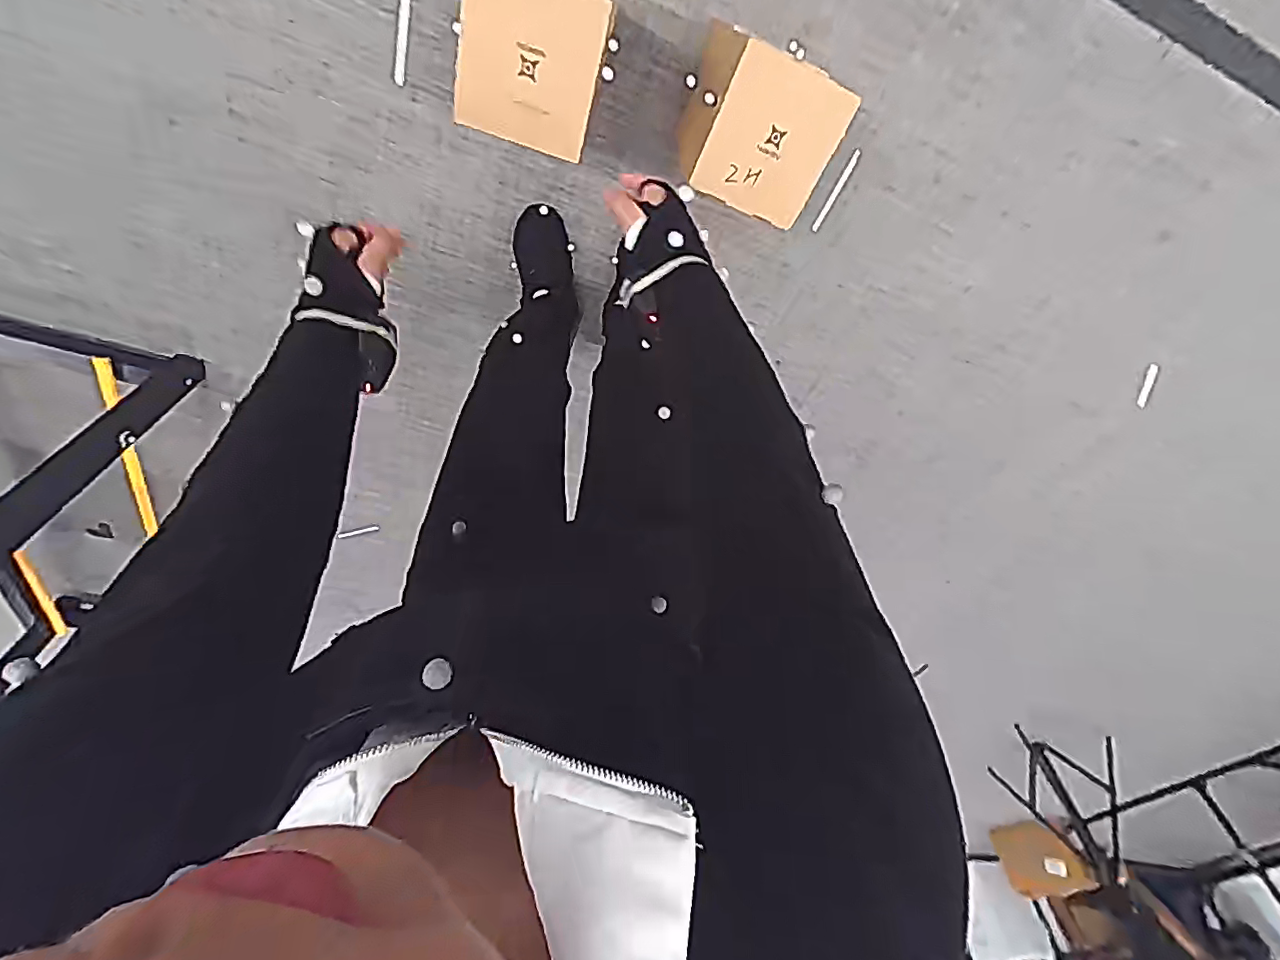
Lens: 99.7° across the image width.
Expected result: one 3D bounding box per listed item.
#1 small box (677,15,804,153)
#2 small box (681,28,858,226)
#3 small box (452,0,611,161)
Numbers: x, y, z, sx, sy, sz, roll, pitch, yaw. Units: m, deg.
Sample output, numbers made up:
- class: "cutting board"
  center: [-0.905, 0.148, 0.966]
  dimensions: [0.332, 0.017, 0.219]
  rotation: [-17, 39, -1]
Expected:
- class: "small box"
  center: [0.167, -0.617, 0.885]
  dimensions: [0.168, 0.176, 0.179]
  rotation: [15, 131, -15]
- class: "small box"
  center: [0.166, -0.501, 0.766]
  dimensions: [0.168, 0.176, 0.179]
  rotation: [16, 130, -16]
- class: "small box"
  center: [-0.137, -0.556, 0.706]
  dimensions: [0.168, 0.176, 0.179]
  rotation: [13, 132, -11]
